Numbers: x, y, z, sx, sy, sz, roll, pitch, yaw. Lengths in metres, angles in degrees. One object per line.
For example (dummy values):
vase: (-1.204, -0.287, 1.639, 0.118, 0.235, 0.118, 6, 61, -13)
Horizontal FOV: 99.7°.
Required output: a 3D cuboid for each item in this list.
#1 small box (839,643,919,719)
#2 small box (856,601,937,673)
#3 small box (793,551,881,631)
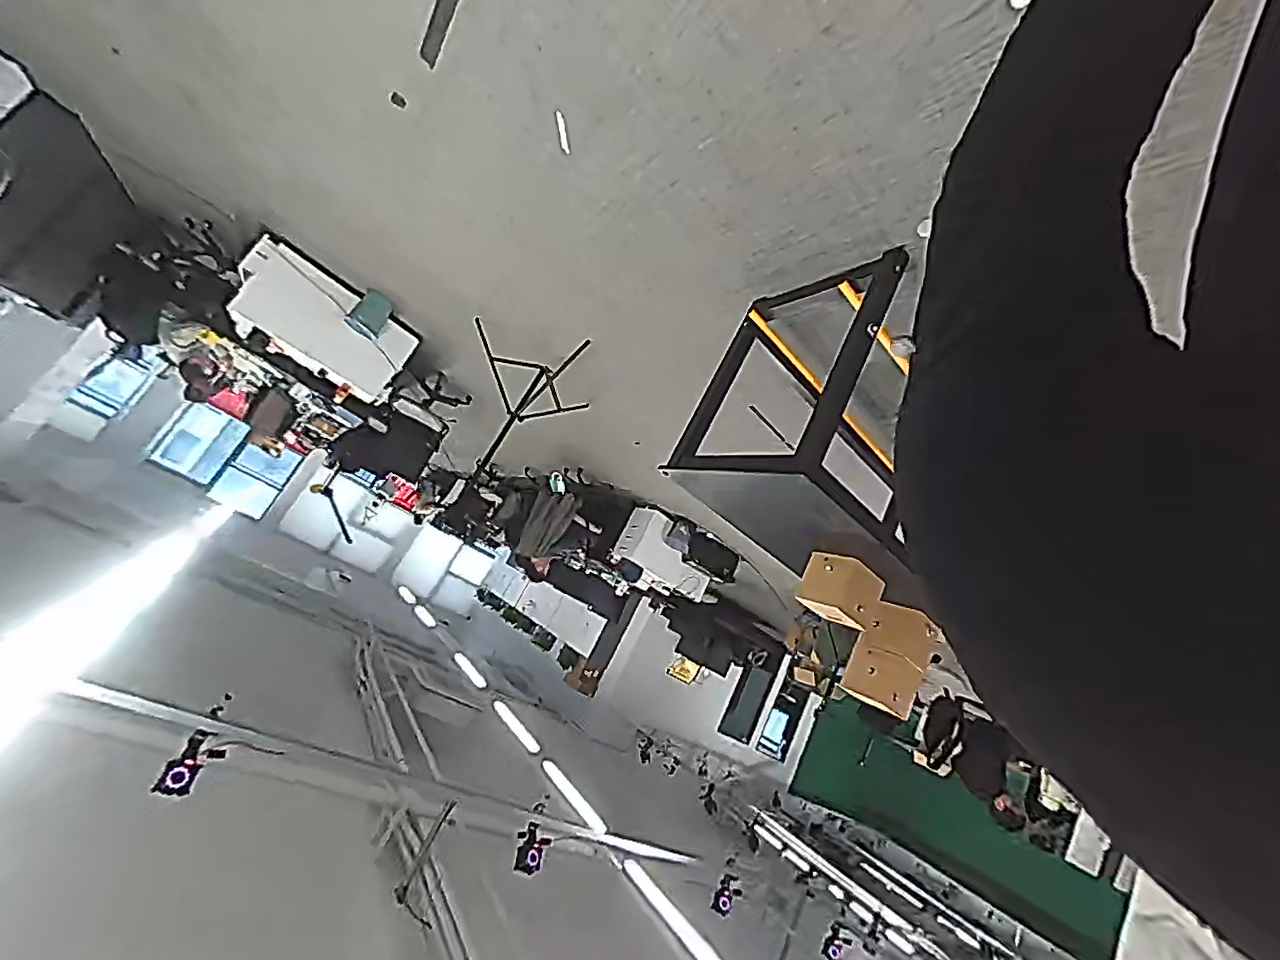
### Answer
small box: (0.815, 0.677, 1.836, 0.179, 0.176, 0.168, 36, 164, -32)
small box: (0.890, 0.534, 1.869, 0.168, 0.176, 0.179, 36, 163, -32)
small box: (0.626, 0.346, 1.703, 0.179, 0.176, 0.168, 37, 163, -27)
